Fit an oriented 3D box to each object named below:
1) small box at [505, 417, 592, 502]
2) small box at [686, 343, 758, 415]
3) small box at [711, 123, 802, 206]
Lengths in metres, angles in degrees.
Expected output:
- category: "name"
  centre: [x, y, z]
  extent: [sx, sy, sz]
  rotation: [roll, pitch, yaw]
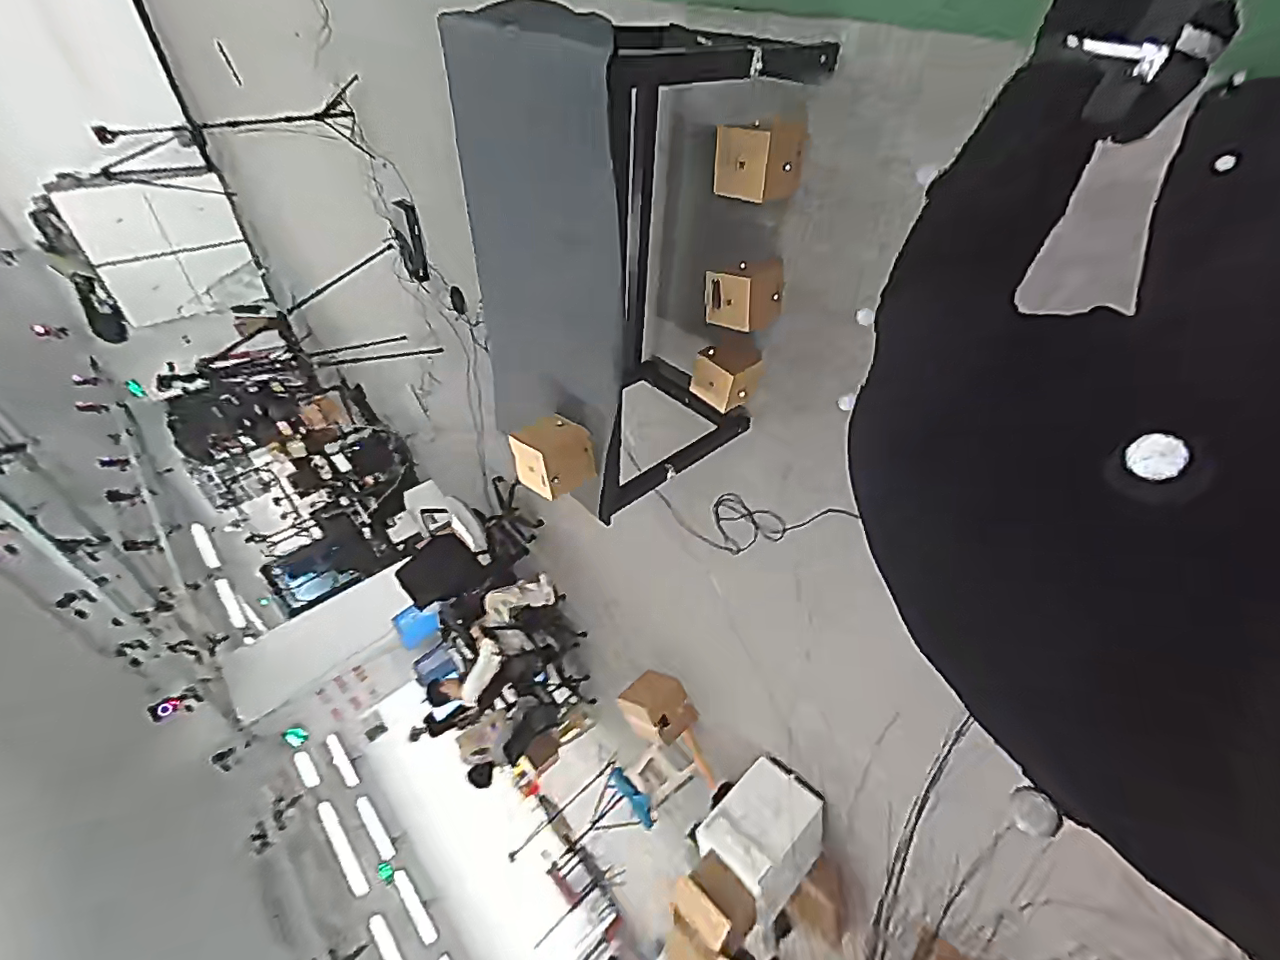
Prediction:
- category: "small box"
  centre: [-0.265, -0.068, 1.586]
  extent: [0.179, 0.176, 0.168]
  rotation: [28, 137, 40]
- category: "small box"
  centre: [0.296, -0.371, 1.946]
  extent: [0.179, 0.176, 0.168]
  rotation: [41, 144, 27]
- category: "small box"
  centre: [0.319, -0.873, 1.488]
  extent: [0.179, 0.176, 0.168]
  rotation: [34, 140, 34]
